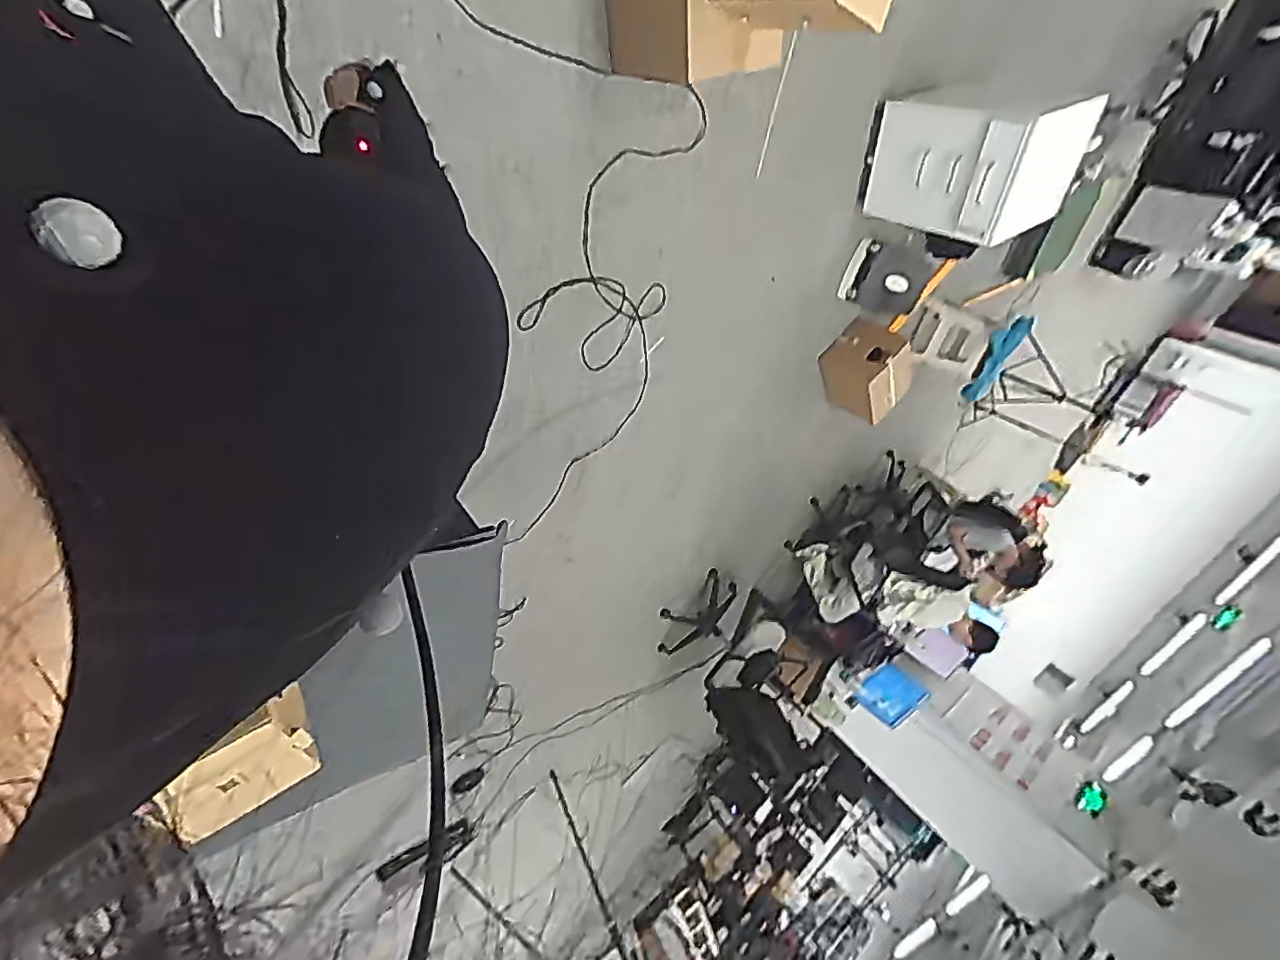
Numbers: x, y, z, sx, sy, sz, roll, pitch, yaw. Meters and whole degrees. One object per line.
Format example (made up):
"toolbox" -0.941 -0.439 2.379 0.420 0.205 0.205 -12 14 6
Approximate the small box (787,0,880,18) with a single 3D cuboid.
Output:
"small box" 0.370 -1.014 1.025 0.179 0.176 0.168 -14 130 -40

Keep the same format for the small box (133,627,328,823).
"small box" -0.608 0.355 0.807 0.179 0.176 0.168 -27 138 -25
